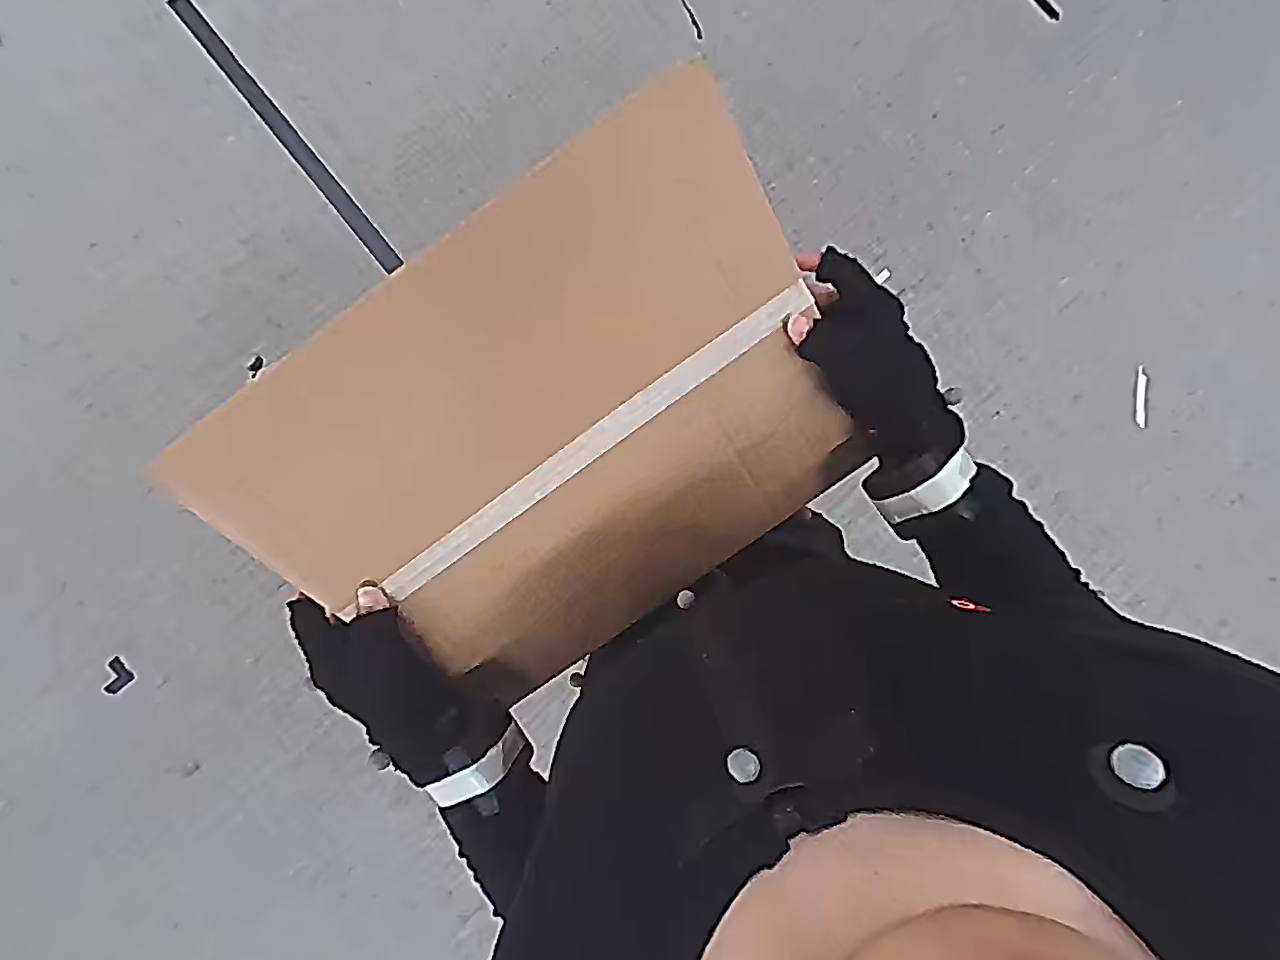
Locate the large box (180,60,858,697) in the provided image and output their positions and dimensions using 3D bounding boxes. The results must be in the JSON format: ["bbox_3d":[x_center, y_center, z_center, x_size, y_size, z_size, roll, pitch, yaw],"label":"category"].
[{"bbox_3d":[-0.090,-0.086,0.528,0.408,0.320,0.320,-35,120,4],"label":"large box"}]
